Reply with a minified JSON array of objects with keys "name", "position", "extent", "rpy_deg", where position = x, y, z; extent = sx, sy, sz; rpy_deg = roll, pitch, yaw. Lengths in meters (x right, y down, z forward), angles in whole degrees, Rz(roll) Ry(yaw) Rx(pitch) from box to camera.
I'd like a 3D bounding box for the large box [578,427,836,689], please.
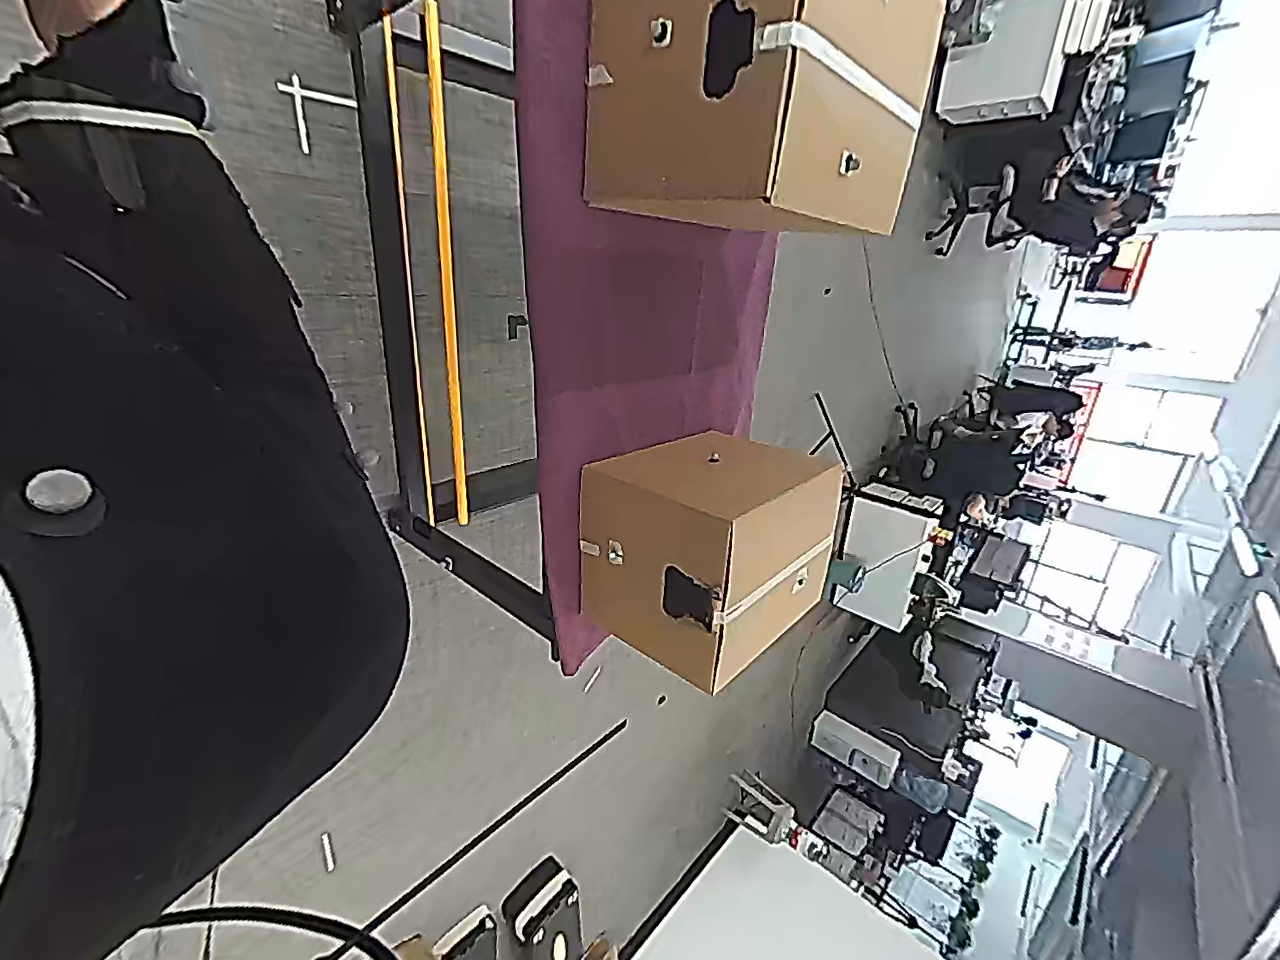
[{"name":"large box","position":[0.129,0.106,1.033],"extent":[0.408,0.320,0.320],"rpy_deg":[-21,122,-46]}]
